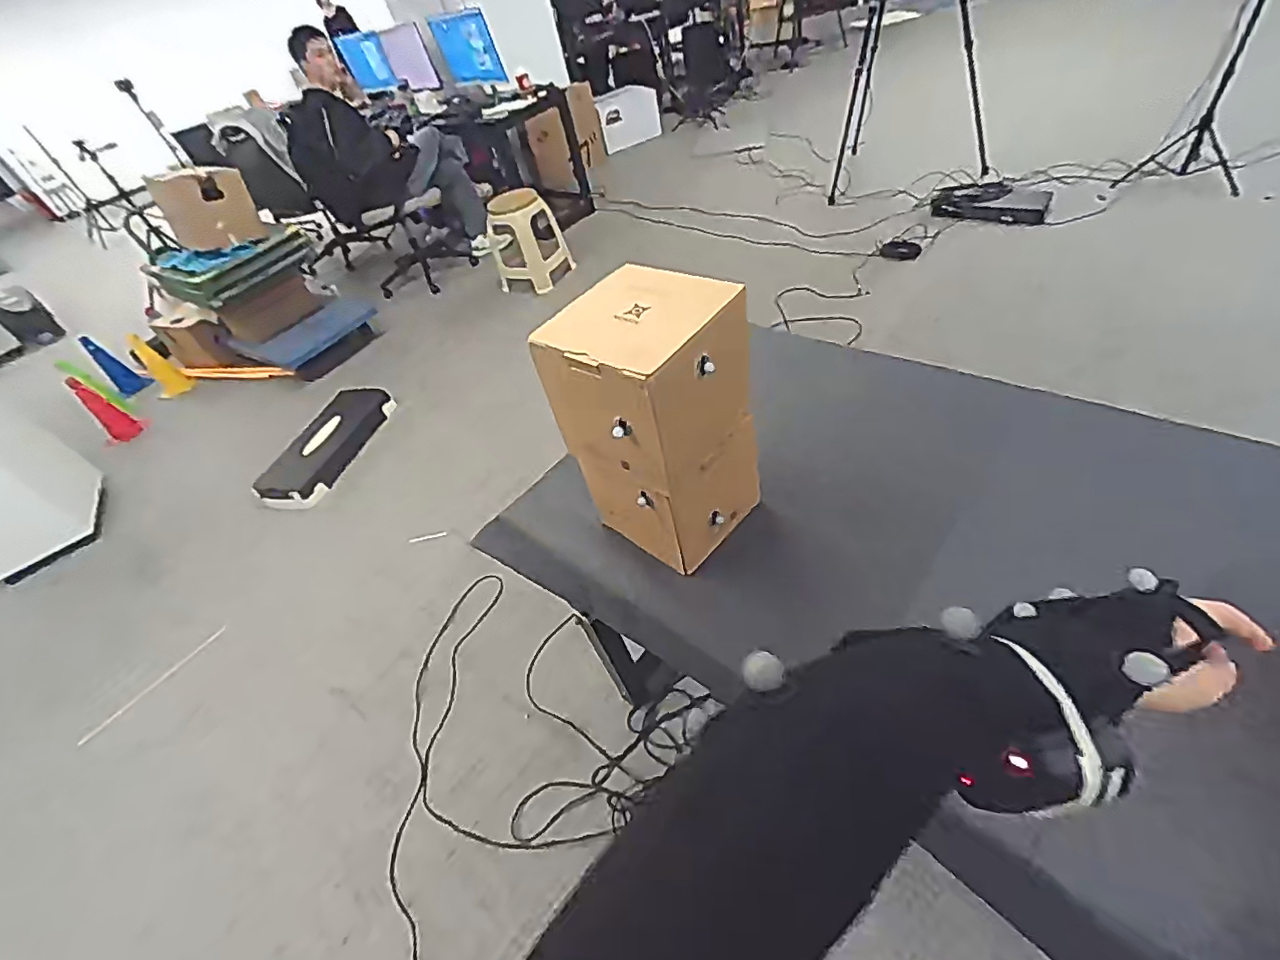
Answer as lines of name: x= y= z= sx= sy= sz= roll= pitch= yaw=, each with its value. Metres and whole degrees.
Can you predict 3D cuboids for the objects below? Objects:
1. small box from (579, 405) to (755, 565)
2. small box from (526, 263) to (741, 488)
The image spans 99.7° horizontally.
small box: x=0.038 y=-0.015 z=0.738 sx=0.179 sy=0.176 sz=0.168 roll=29 pitch=60 yaw=35
small box: x=0.007 y=-0.120 z=0.618 sx=0.168 sy=0.176 sz=0.179 roll=24 pitch=56 yaw=31
